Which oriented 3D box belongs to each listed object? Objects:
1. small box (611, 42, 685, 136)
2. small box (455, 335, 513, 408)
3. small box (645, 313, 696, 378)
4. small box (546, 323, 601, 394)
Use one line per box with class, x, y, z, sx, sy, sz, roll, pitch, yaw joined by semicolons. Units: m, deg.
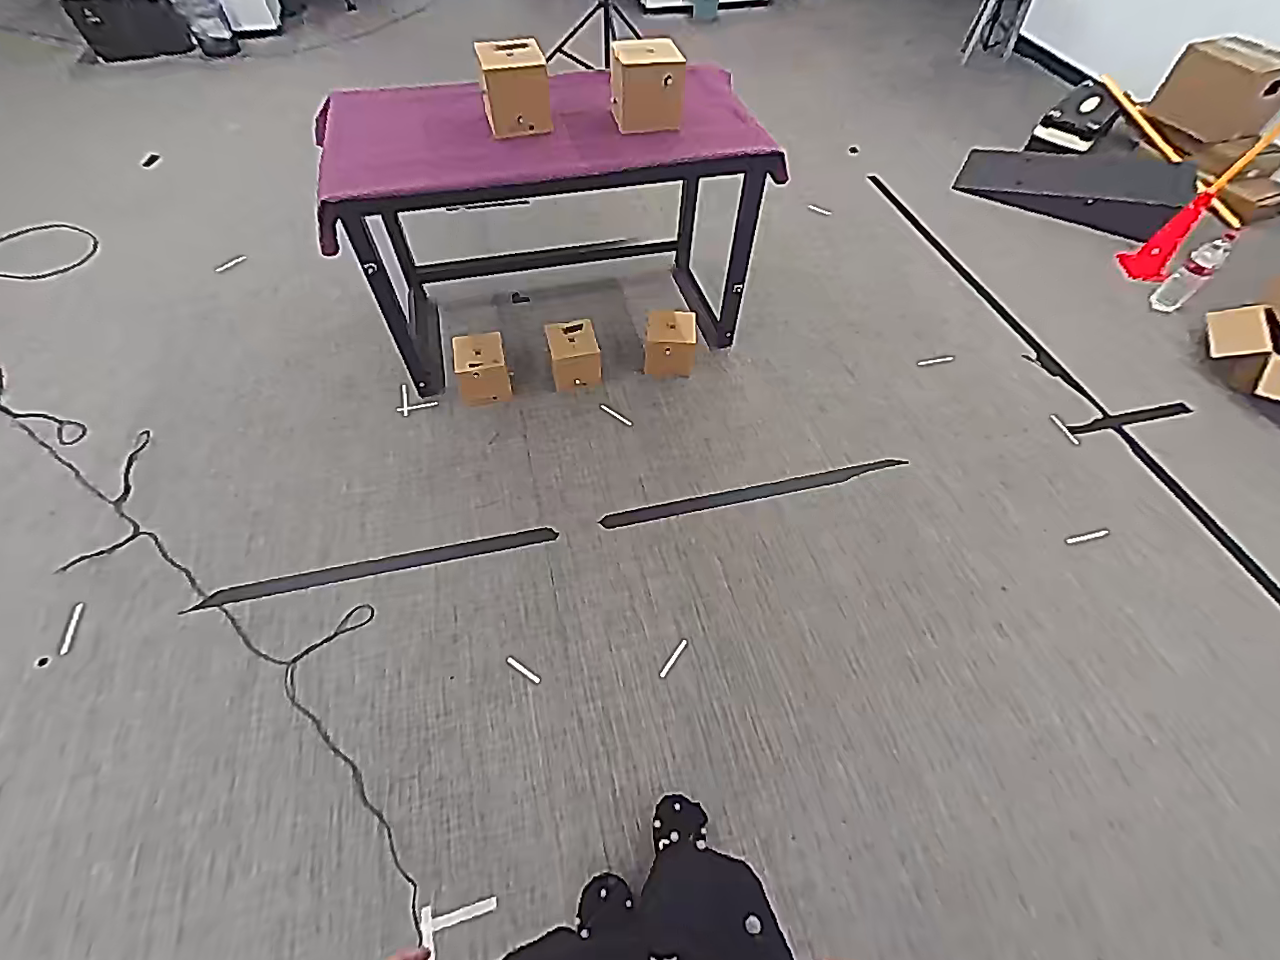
small box;0.017;-1.096;1.520;0.179;0.176;0.168;-10;56;-8
small box;-0.548;-0.381;1.903;0.168;0.176;0.179;-11;56;-9
small box;0.110;-0.493;1.997;0.179;0.176;0.168;2;56;1
small box;-0.239;-0.436;1.948;0.168;0.176;0.179;-12;58;-9
